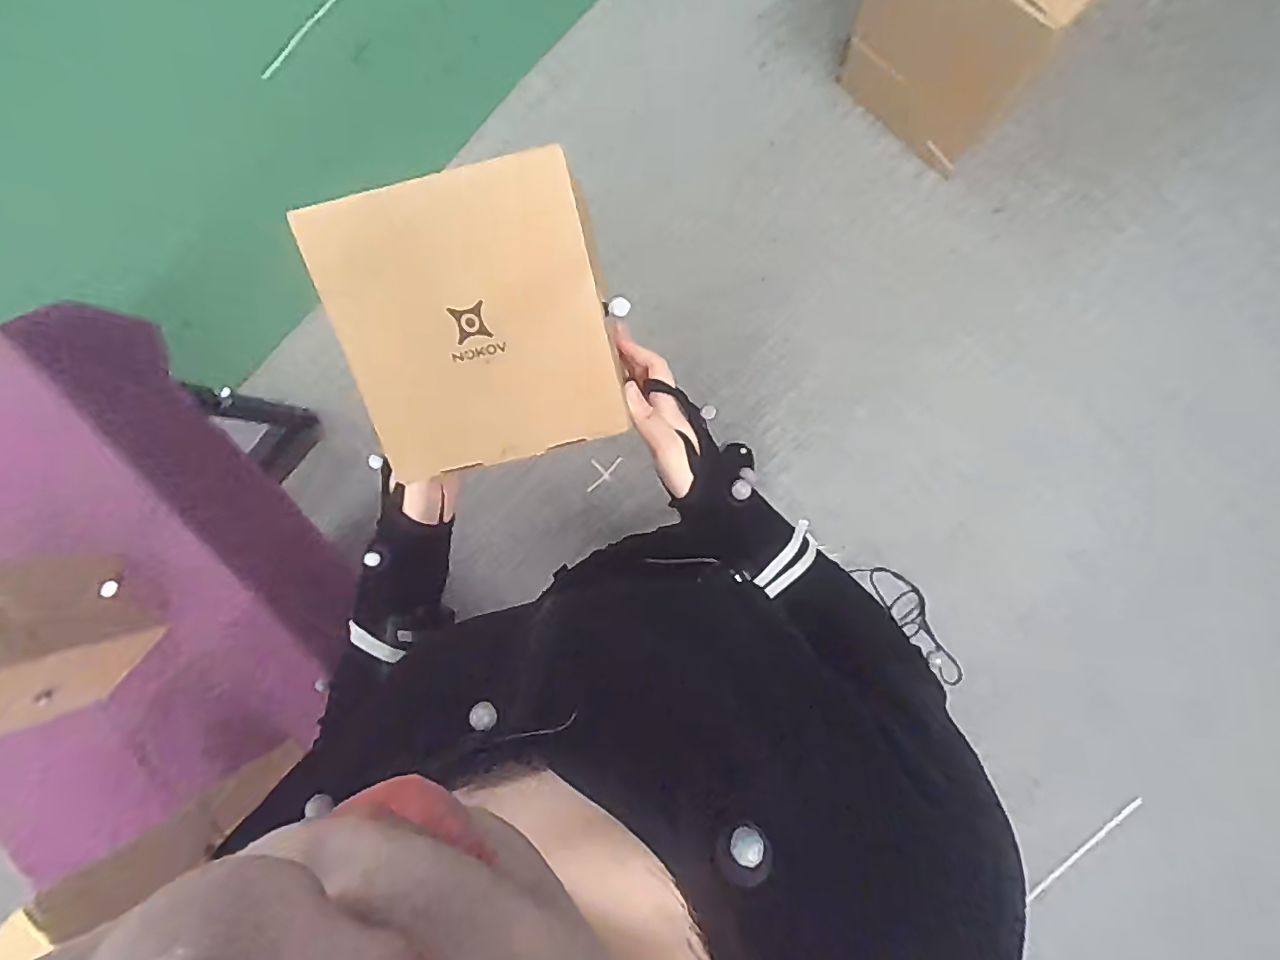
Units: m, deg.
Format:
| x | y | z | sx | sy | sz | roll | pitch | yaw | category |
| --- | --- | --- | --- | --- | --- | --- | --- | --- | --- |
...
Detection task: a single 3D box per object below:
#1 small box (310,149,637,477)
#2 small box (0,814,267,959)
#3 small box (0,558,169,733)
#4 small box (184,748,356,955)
| x | y | z | sx | sy | sz | roll | pitch | yaw | category |
| --- | --- | --- | --- | --- | --- | --- | --- | --- | --- |
| -0.102 | -0.124 | 0.416 | 0.168 | 0.176 | 0.179 | -12 | 112 | 3 | small box |
| -0.552 | 0.514 | 0.581 | 0.168 | 0.176 | 0.179 | 43 | 93 | 7 | small box |
| -0.862 | 0.237 | 0.793 | 0.168 | 0.176 | 0.179 | 44 | 94 | 6 | small box |
| -0.533 | 0.515 | 0.745 | 0.168 | 0.176 | 0.179 | 41 | 95 | 7 | small box |
